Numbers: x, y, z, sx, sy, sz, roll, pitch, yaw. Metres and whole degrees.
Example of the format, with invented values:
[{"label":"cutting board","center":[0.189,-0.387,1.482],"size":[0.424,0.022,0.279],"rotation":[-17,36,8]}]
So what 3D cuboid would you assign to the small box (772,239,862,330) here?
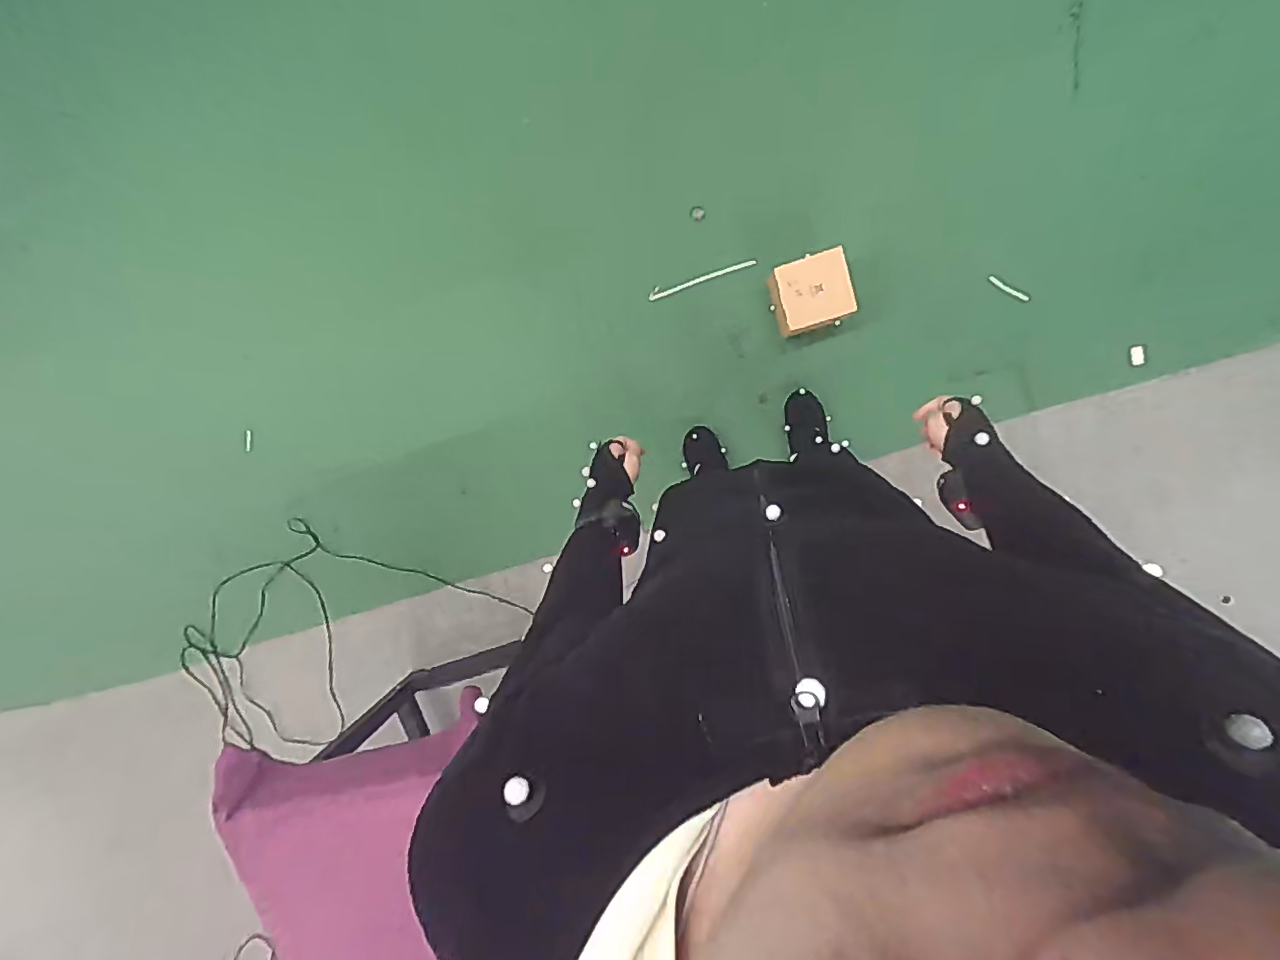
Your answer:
[{"label":"small box","center":[0.461,-0.510,1.431],"size":[0.179,0.176,0.168],"rotation":[-15,96,10]}]
